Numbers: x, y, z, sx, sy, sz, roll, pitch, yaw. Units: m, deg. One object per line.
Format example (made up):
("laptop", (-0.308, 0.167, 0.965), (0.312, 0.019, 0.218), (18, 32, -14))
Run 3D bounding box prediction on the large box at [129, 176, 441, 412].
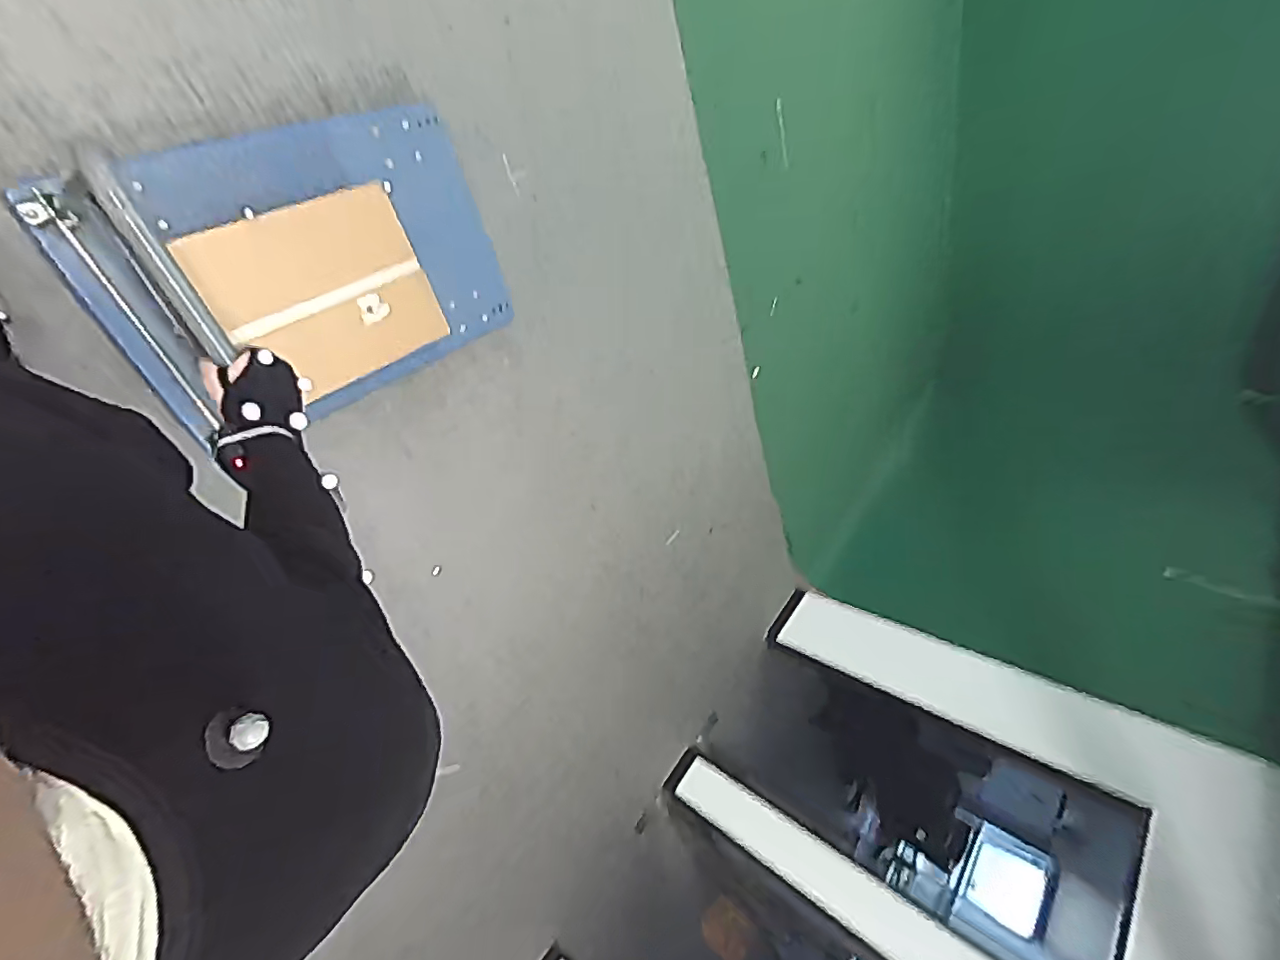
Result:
("large box", (-0.717, -0.386, 1.125), (0.408, 0.320, 0.320), (-42, 130, -32))
